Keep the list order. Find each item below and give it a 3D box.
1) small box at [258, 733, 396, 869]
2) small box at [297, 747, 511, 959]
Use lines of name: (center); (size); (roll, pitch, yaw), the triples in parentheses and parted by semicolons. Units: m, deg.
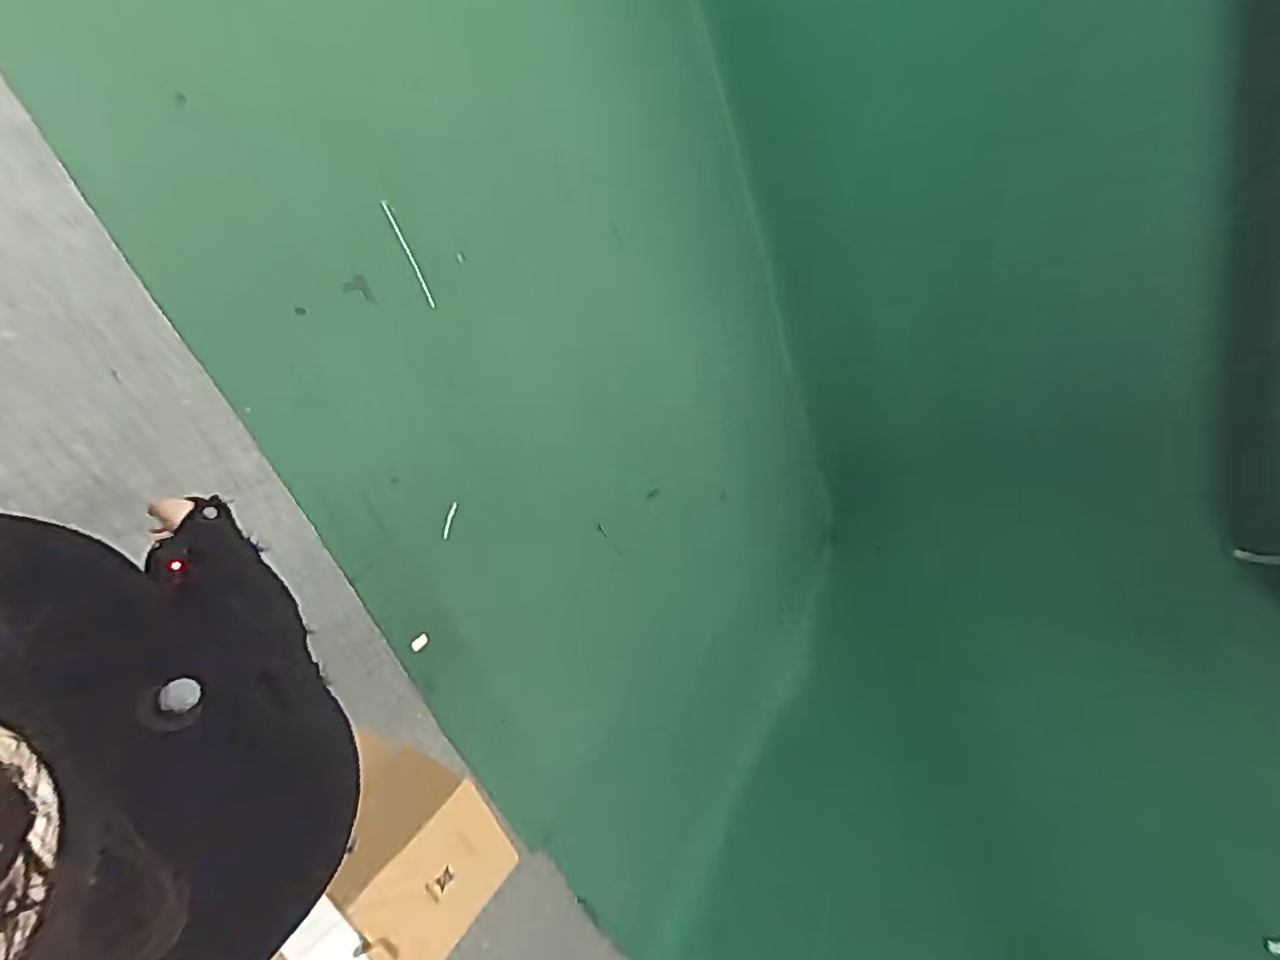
small box: (-0.431, 0.512, 0.817); (0.168, 0.176, 0.179); (-39, 117, -43)
small box: (-0.312, 0.491, 0.708); (0.179, 0.176, 0.168); (-42, 120, -44)
